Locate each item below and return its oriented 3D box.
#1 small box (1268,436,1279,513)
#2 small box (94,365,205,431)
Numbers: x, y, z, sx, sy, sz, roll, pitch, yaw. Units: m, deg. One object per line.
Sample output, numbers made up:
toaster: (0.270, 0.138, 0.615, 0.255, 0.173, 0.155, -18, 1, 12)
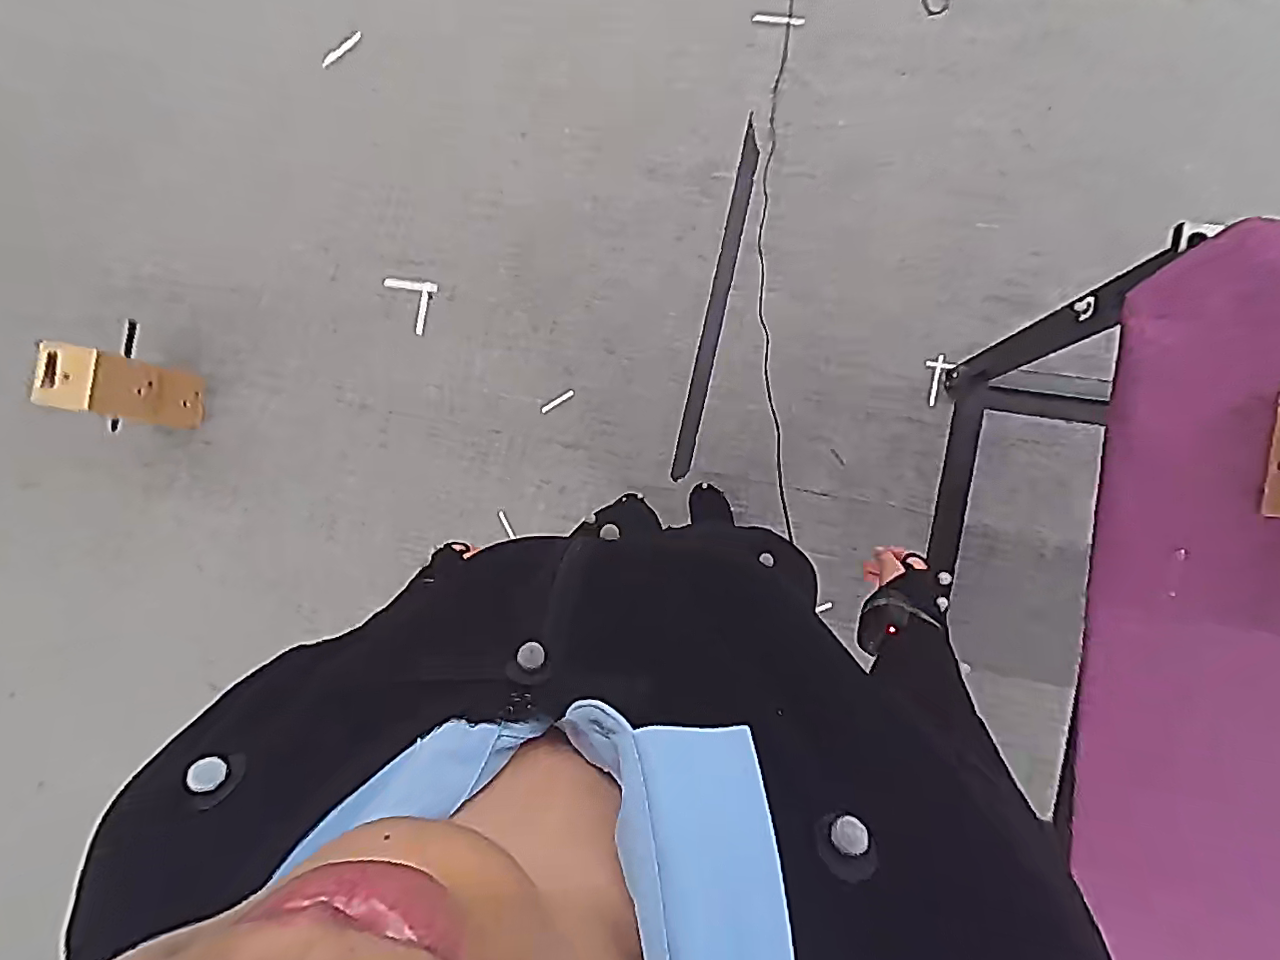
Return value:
small box: (0.853, -0.027, 0.569, 0.179, 0.176, 0.168, 8, 90, 8)
small box: (-1.479, -0.243, 1.637, 0.179, 0.176, 0.168, 6, 89, 8)
